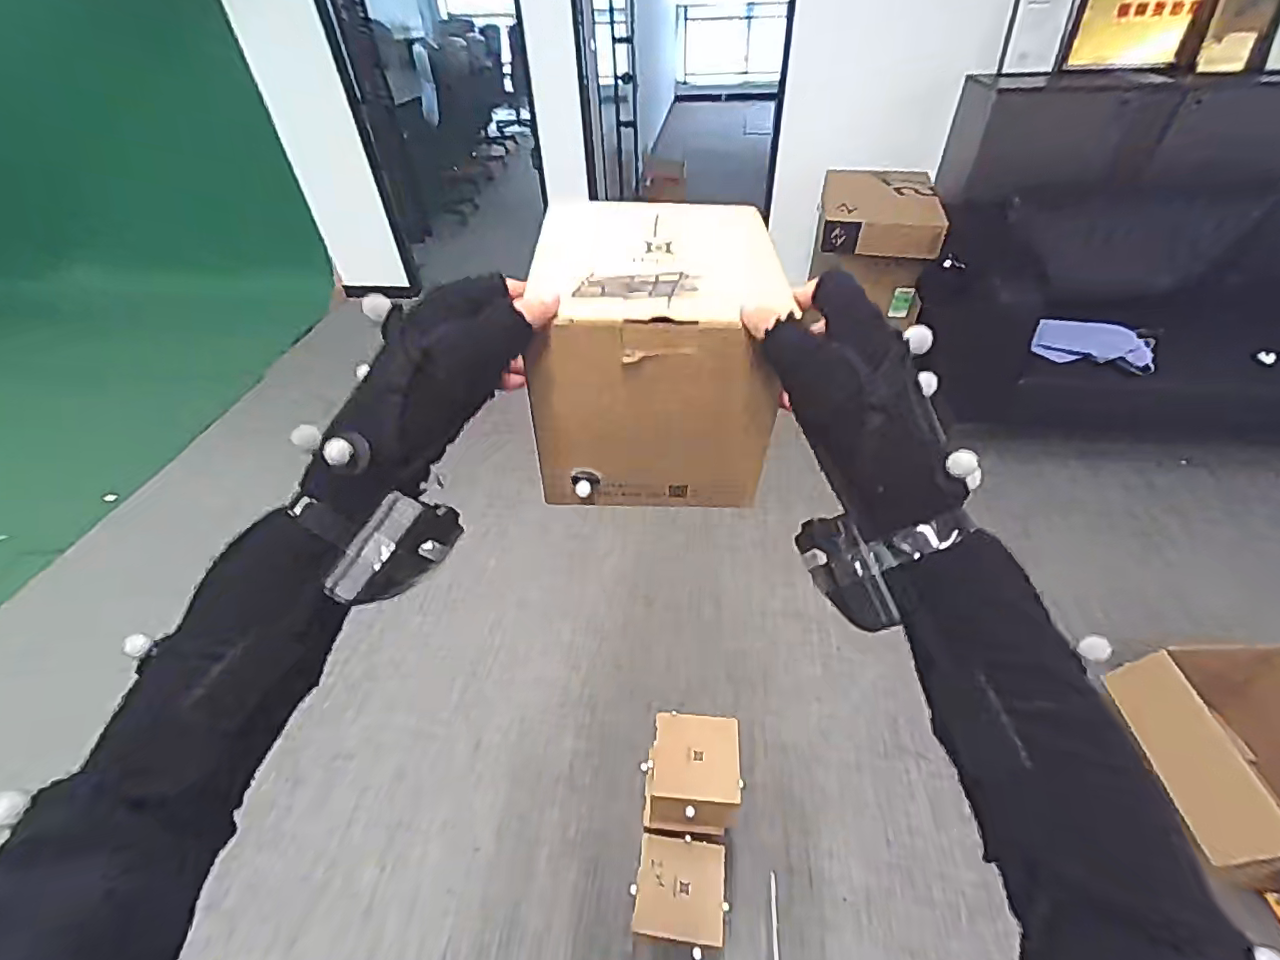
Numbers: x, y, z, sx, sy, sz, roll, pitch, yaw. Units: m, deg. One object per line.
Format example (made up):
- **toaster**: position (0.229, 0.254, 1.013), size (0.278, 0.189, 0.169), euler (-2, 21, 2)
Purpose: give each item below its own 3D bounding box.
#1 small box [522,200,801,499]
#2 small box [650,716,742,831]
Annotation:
- **small box**: position (0.013, -0.100, 0.425), size (0.168, 0.176, 0.179), euler (2, 46, -1)
- **small box**: position (0.116, 0.625, 1.147), size (0.179, 0.176, 0.168), euler (3, 43, 5)
